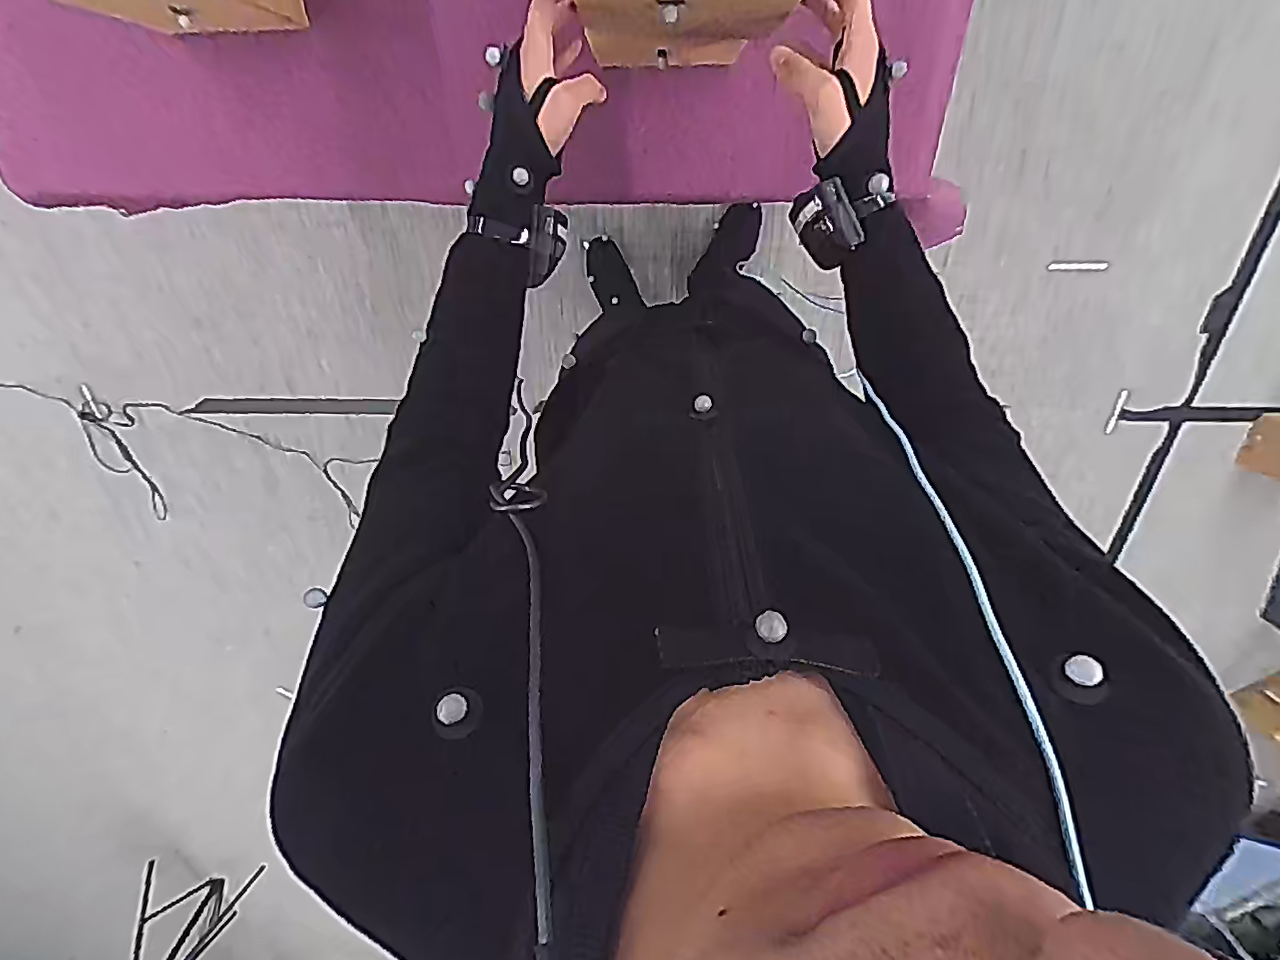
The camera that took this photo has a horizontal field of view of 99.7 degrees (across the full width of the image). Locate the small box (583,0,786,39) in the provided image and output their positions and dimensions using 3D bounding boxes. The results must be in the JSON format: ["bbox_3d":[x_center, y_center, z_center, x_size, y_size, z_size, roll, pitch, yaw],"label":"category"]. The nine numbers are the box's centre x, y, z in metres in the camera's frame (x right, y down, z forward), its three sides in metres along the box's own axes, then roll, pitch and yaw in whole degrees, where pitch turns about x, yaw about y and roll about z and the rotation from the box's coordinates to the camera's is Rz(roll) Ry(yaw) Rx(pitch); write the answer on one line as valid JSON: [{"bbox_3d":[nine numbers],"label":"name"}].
[{"bbox_3d":[0.038,-0.456,0.409,0.179,0.176,0.168,1,119,0],"label":"small box"}]

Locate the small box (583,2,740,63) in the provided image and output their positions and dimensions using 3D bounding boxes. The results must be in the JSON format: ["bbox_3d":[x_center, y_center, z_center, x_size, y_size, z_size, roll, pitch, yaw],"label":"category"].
[{"bbox_3d":[0.030,-0.544,0.549,0.168,0.176,0.179,0,119,0],"label":"small box"}]
